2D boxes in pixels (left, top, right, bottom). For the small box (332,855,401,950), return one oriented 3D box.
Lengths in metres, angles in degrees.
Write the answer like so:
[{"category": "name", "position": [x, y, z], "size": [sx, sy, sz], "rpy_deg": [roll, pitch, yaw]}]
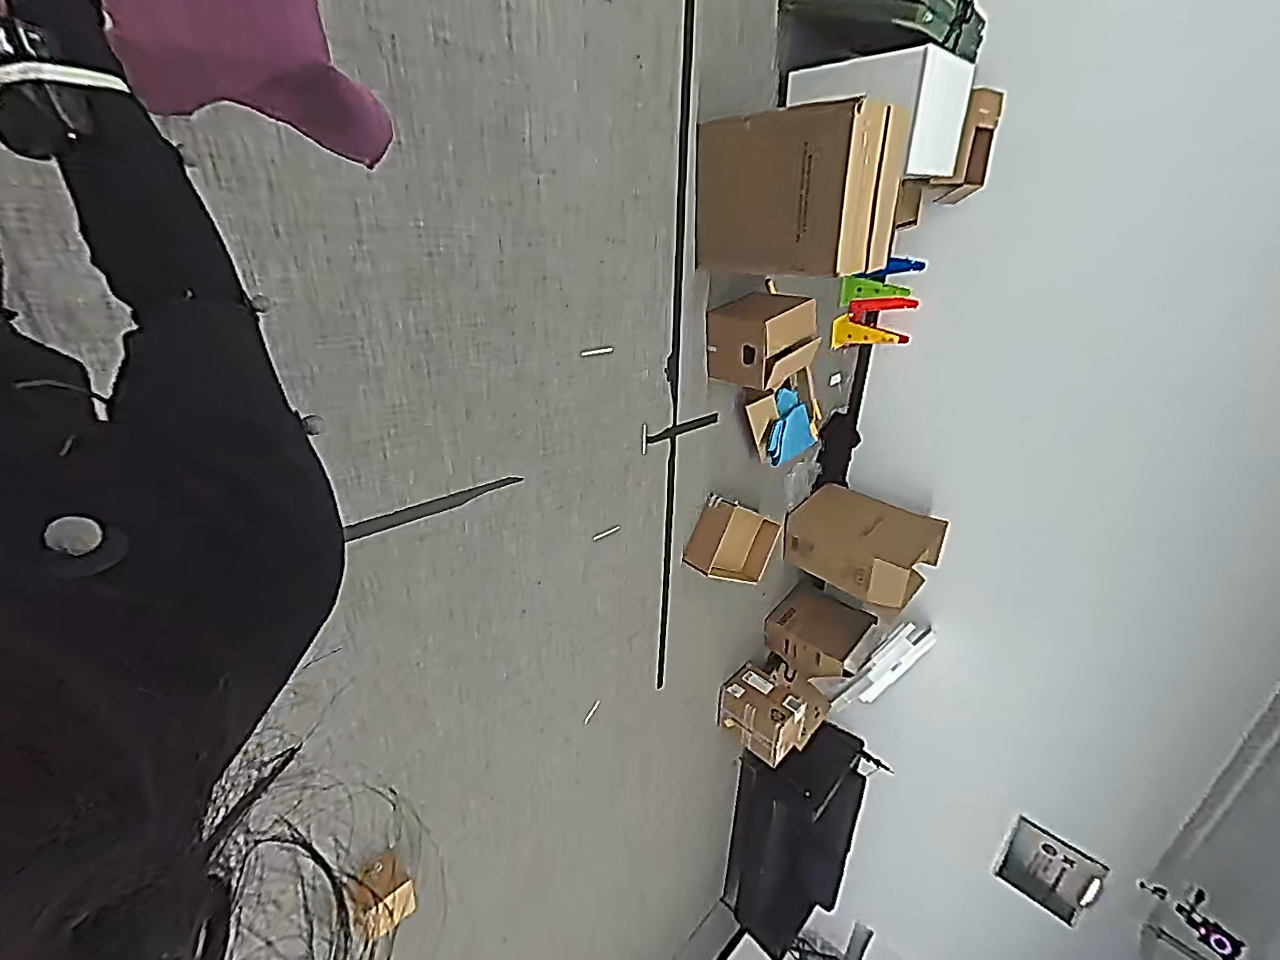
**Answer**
[{"category": "small box", "position": [-0.988, 1.516, 1.954], "size": [0.168, 0.176, 0.179], "rpy_deg": [-20, 121, -44]}]
